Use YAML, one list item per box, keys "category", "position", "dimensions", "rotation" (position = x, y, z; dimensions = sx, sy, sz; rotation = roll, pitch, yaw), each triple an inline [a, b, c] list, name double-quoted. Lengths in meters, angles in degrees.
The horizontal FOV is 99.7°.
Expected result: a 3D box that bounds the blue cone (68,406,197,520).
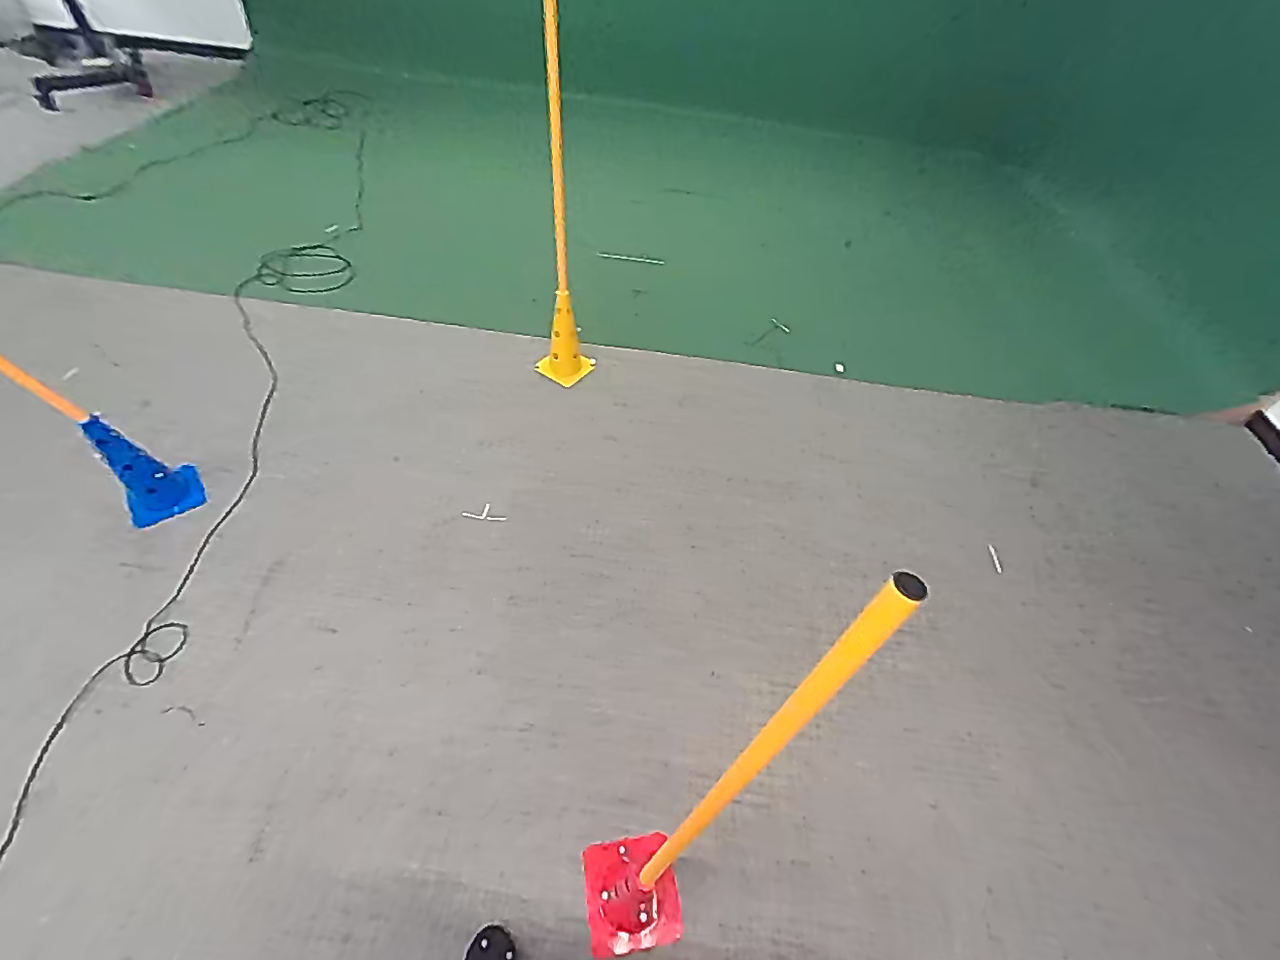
- category: "blue cone"
  position: [-1.519, -0.066, 1.591]
  dimensions: [0.193, 0.380, 0.192]
  rotation: [-31, 61, -25]
